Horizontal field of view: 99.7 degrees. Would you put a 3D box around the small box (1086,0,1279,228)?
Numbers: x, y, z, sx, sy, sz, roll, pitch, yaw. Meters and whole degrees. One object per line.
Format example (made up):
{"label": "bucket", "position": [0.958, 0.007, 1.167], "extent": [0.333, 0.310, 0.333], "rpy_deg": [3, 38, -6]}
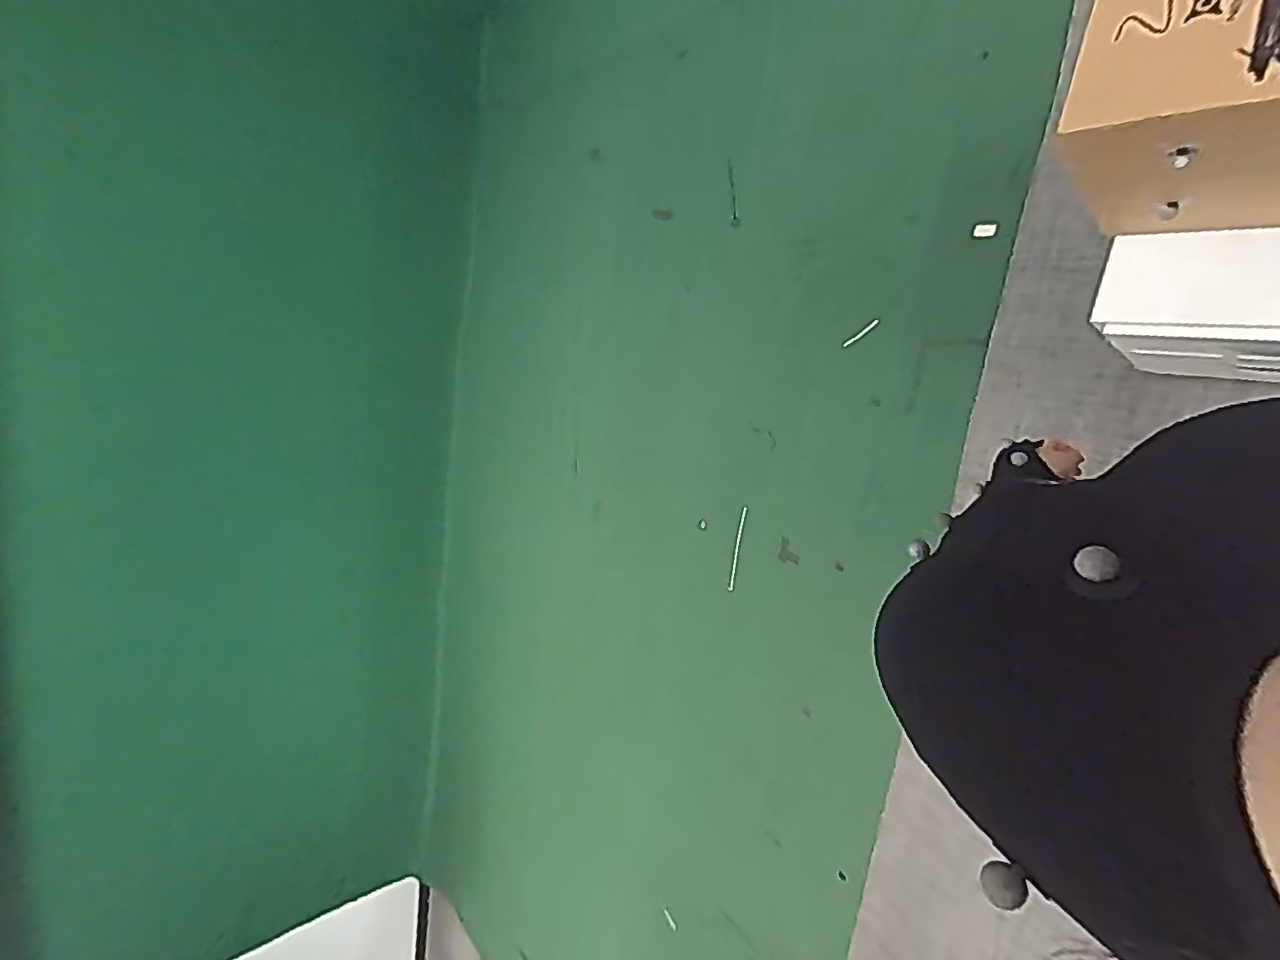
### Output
{"label": "small box", "position": [0.639, -0.391, 0.598], "extent": [0.179, 0.176, 0.168], "rpy_deg": [20, 106, 44]}
